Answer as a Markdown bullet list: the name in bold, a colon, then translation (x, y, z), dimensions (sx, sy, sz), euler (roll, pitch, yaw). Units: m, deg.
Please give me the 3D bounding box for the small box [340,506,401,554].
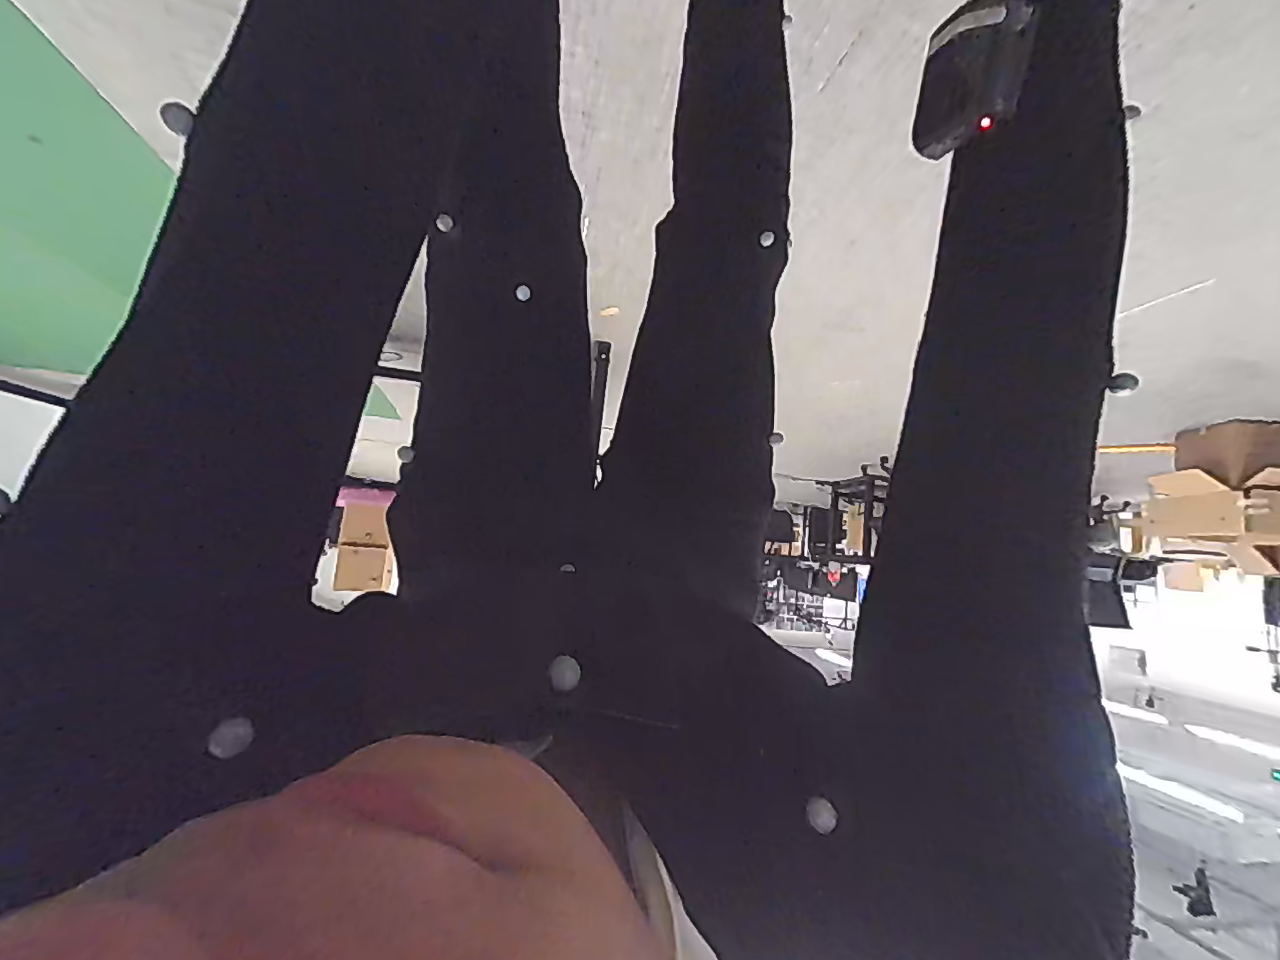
- **small box**: translation (-1.032, 0.192, 2.085), dimensions (0.179, 0.176, 0.168), euler (8, 172, -14)
